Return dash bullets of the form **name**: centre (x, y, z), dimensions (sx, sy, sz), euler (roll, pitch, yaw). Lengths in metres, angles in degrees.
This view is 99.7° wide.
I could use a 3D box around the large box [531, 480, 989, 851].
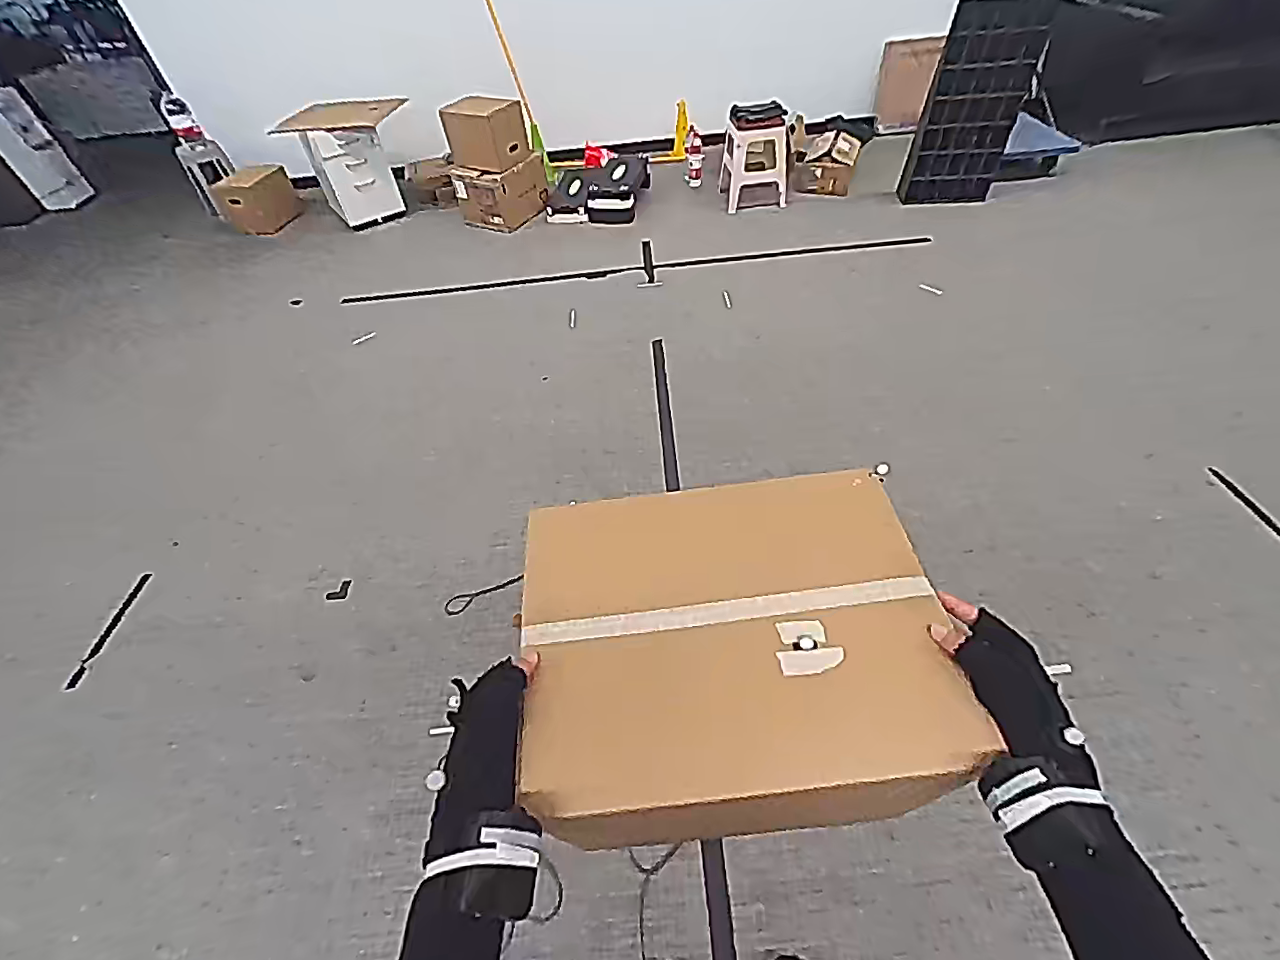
- **large box**: centre (0.098, 0.235, 0.665), dimensions (0.408, 0.320, 0.320), euler (-7, 52, 0)
